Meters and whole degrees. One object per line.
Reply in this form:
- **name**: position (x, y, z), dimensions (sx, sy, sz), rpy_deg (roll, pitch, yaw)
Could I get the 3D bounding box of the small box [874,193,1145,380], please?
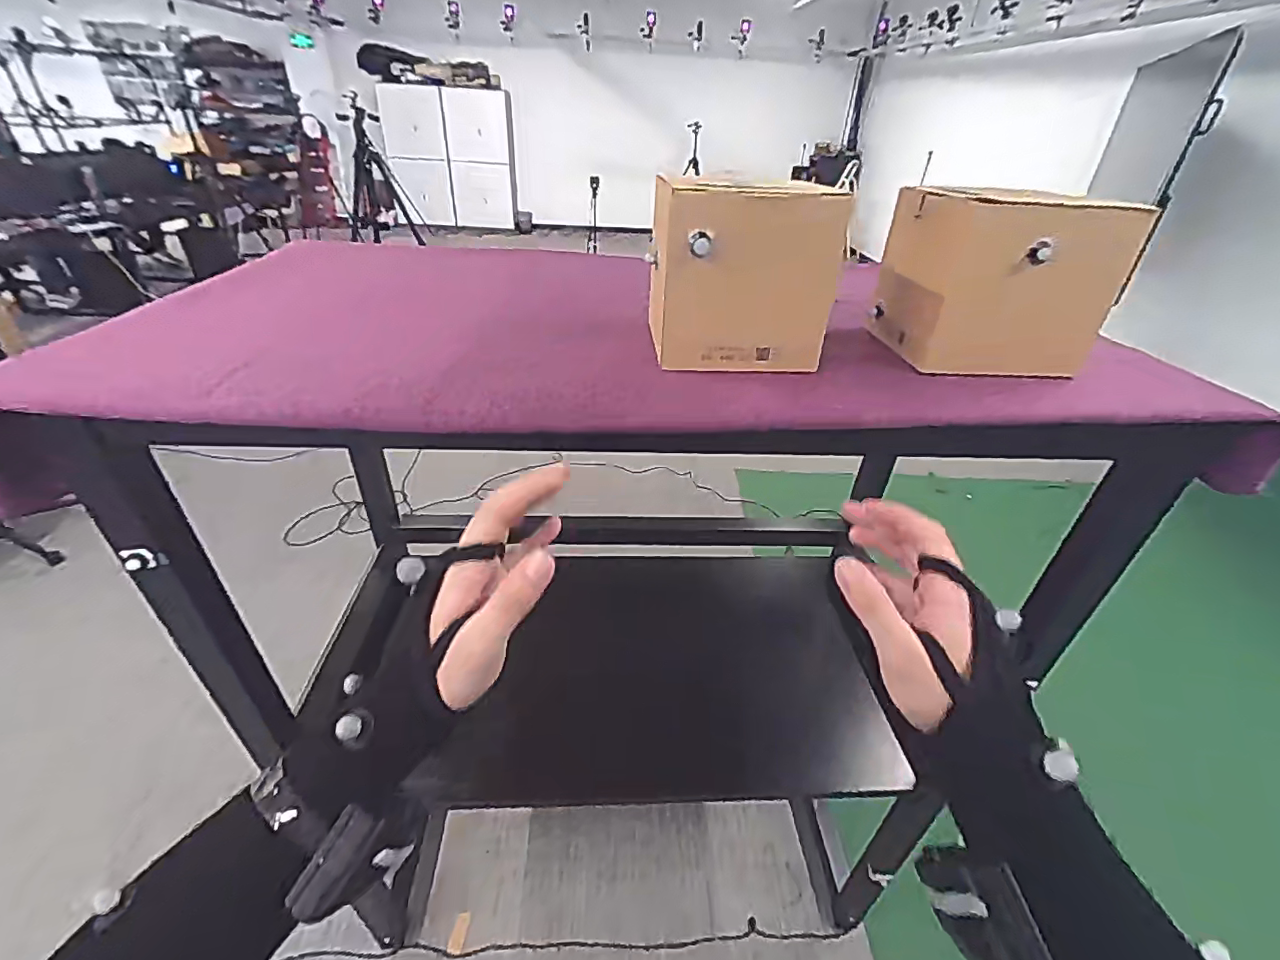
- **small box**: position (0.389, -0.222, 0.616), dimensions (0.179, 0.176, 0.168), rpy_deg (1, 33, -3)
